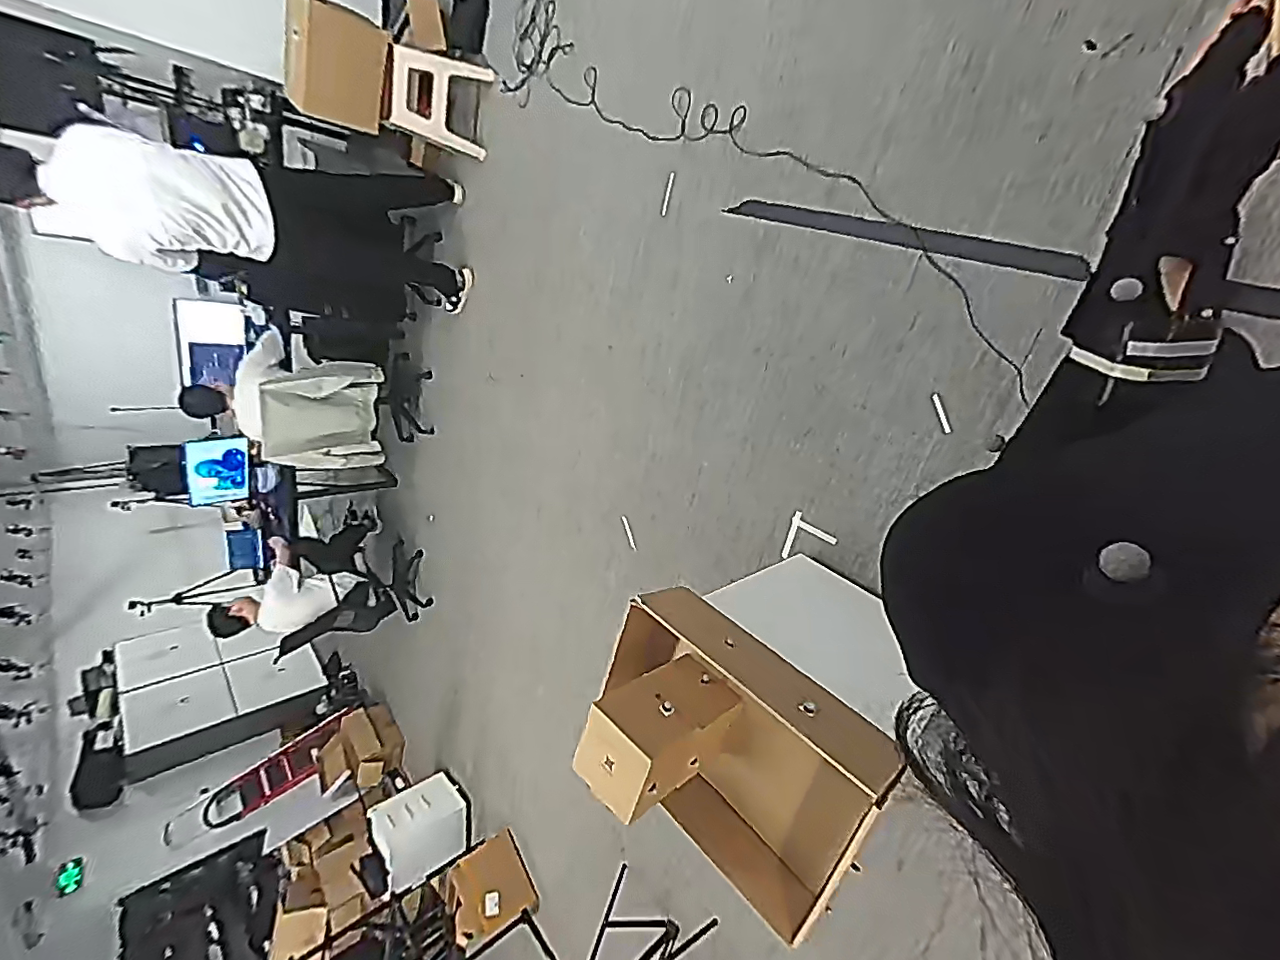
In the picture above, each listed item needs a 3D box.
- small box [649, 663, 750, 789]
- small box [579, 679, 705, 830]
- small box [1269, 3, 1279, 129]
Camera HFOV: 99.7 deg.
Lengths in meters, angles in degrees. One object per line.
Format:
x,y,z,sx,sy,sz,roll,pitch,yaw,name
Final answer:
0.113,0.535,1.212,0.179,0.176,0.168,31,114,37,small box
0.007,0.540,1.088,0.168,0.176,0.179,29,112,35,small box
0.471,-0.325,0.287,0.168,0.176,0.179,7,98,48,small box
